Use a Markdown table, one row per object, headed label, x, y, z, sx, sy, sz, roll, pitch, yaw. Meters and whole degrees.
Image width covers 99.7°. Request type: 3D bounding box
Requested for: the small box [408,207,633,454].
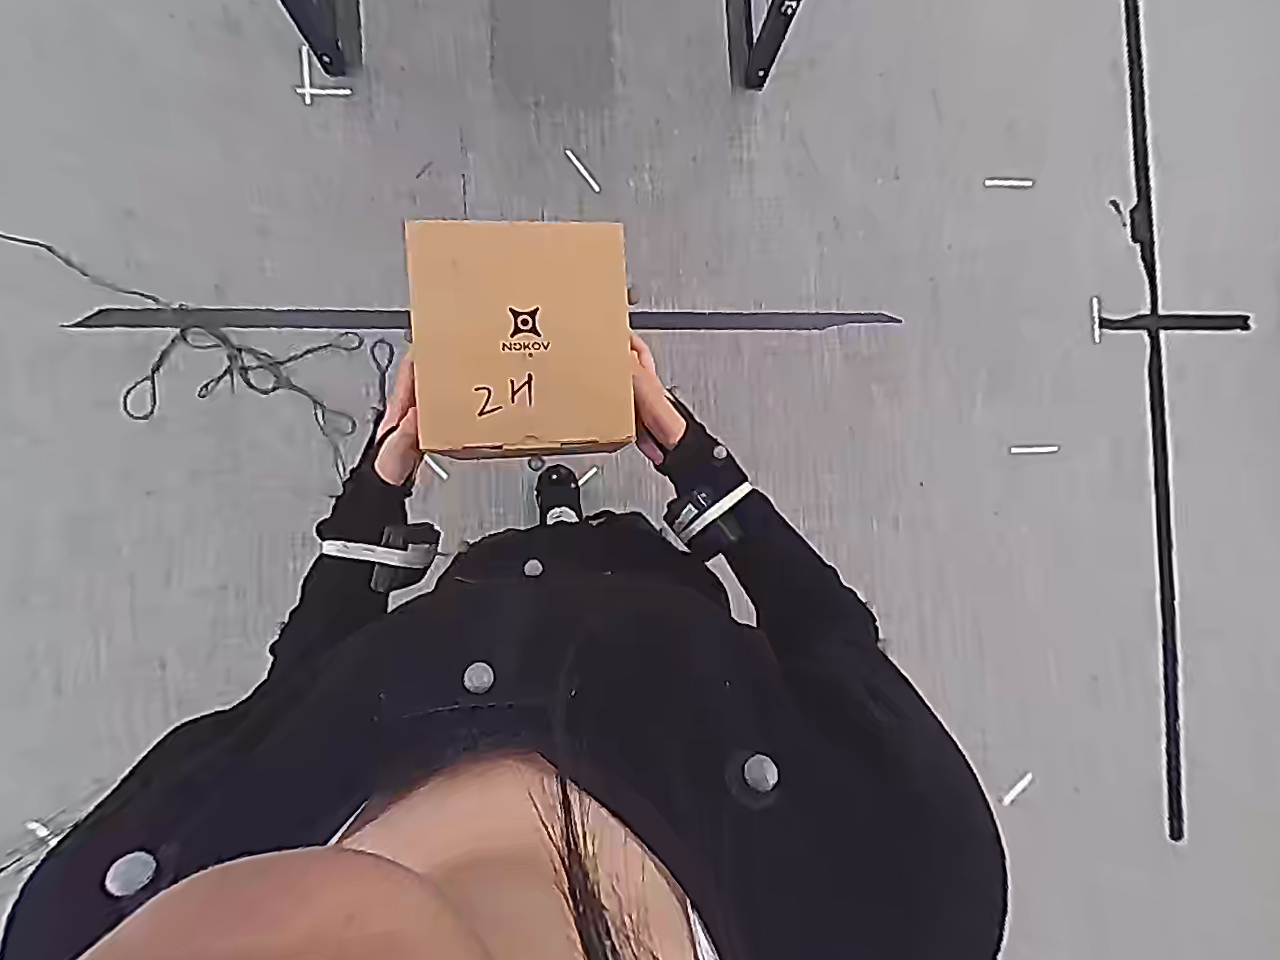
| label | x | y | z | sx | sy | sz | roll | pitch | yaw |
| --- | --- | --- | --- | --- | --- | --- | --- | --- | --- |
| small box | -0.101 | -0.118 | 0.490 | 0.168 | 0.176 | 0.179 | -3 | 90 | -9 |
